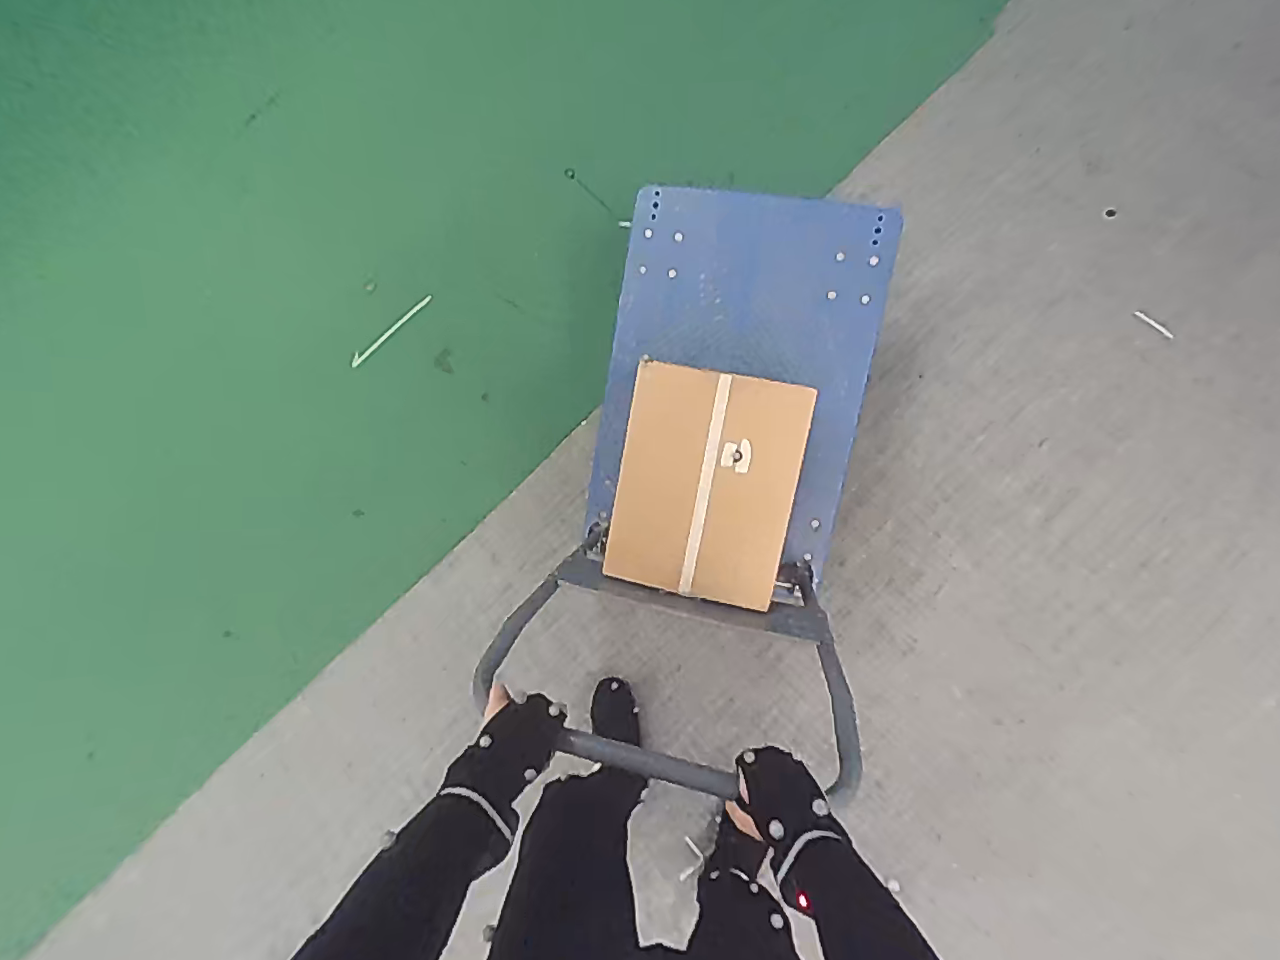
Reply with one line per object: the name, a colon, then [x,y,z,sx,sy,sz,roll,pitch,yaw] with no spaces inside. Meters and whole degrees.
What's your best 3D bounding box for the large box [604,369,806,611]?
large box: [0.139,0.006,1.131,0.320,0.320,0.408,12,98,9]
